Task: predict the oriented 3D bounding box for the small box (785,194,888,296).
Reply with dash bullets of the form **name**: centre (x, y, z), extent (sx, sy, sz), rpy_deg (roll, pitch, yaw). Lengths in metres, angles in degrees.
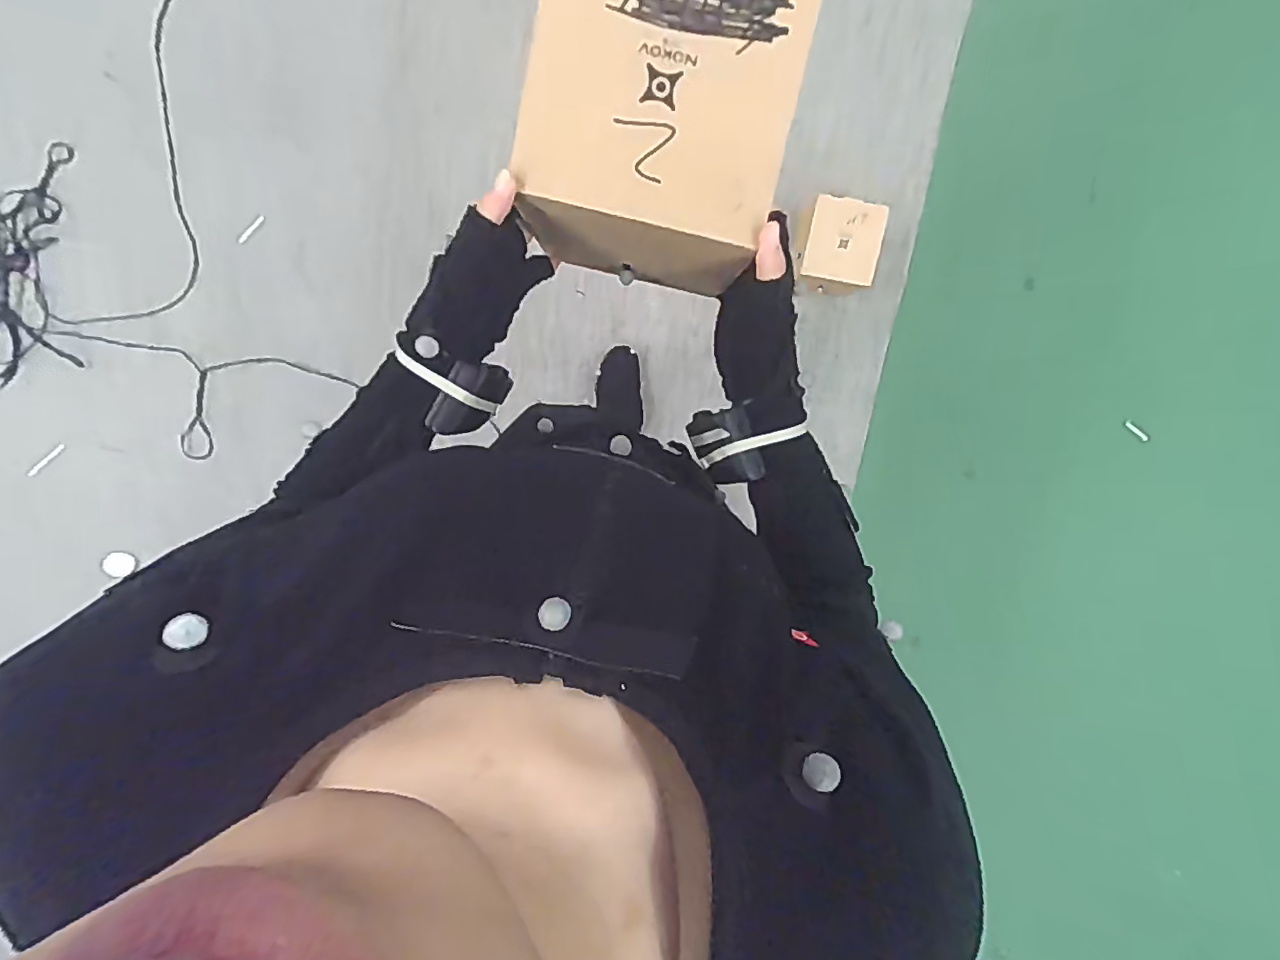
- **small box**: centre (0.454, -0.546, 1.281), extent (0.168, 0.176, 0.179), rpy_deg (10, 100, -2)
